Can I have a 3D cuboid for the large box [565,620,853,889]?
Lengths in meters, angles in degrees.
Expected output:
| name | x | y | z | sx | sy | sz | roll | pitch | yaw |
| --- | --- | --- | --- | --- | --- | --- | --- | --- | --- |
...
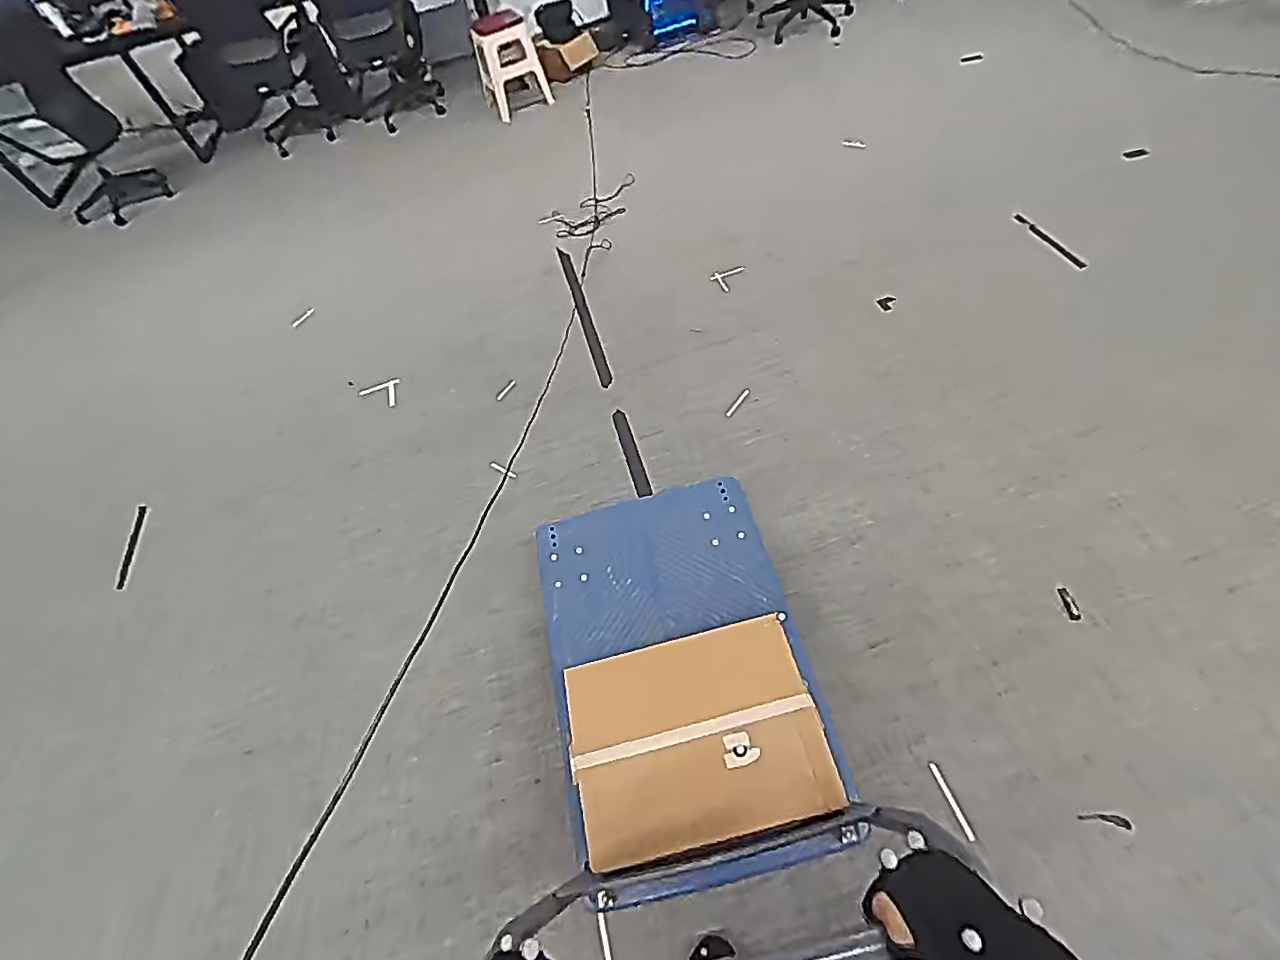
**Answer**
| name | x | y | z | sx | sy | sz | roll | pitch | yaw |
| --- | --- | --- | --- | --- | --- | --- | --- | --- | --- |
| large box | 0.111 | 0.506 | 0.997 | 0.408 | 0.320 | 0.320 | -15 | 56 | -1 |
